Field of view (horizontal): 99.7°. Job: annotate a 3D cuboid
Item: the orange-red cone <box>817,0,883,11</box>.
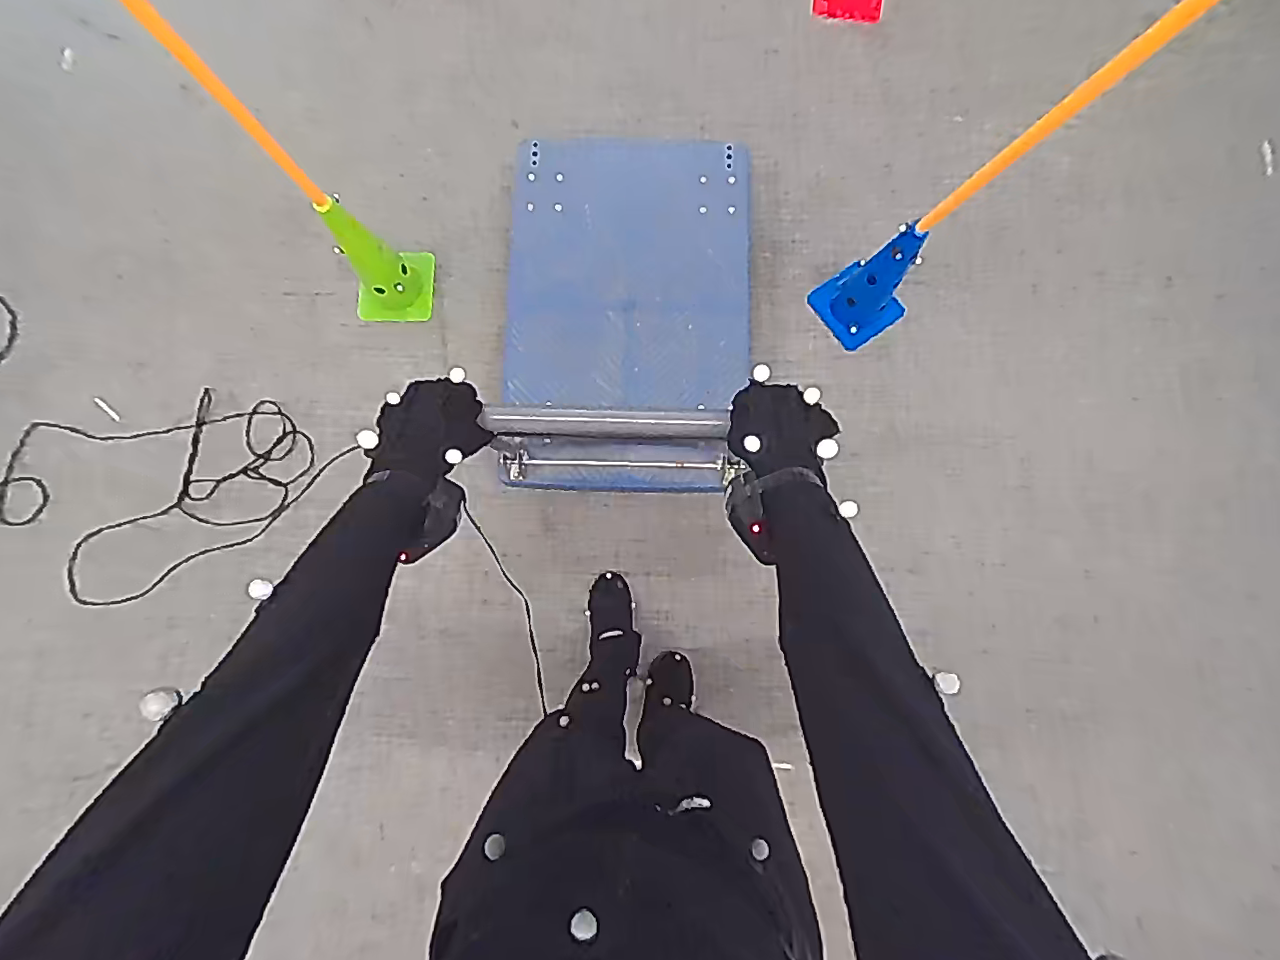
[{"bbox_3d":[0.612,-1.477,1.399,0.198,0.360,0.199,13,84,3],"label":"orange-red cone"}]
